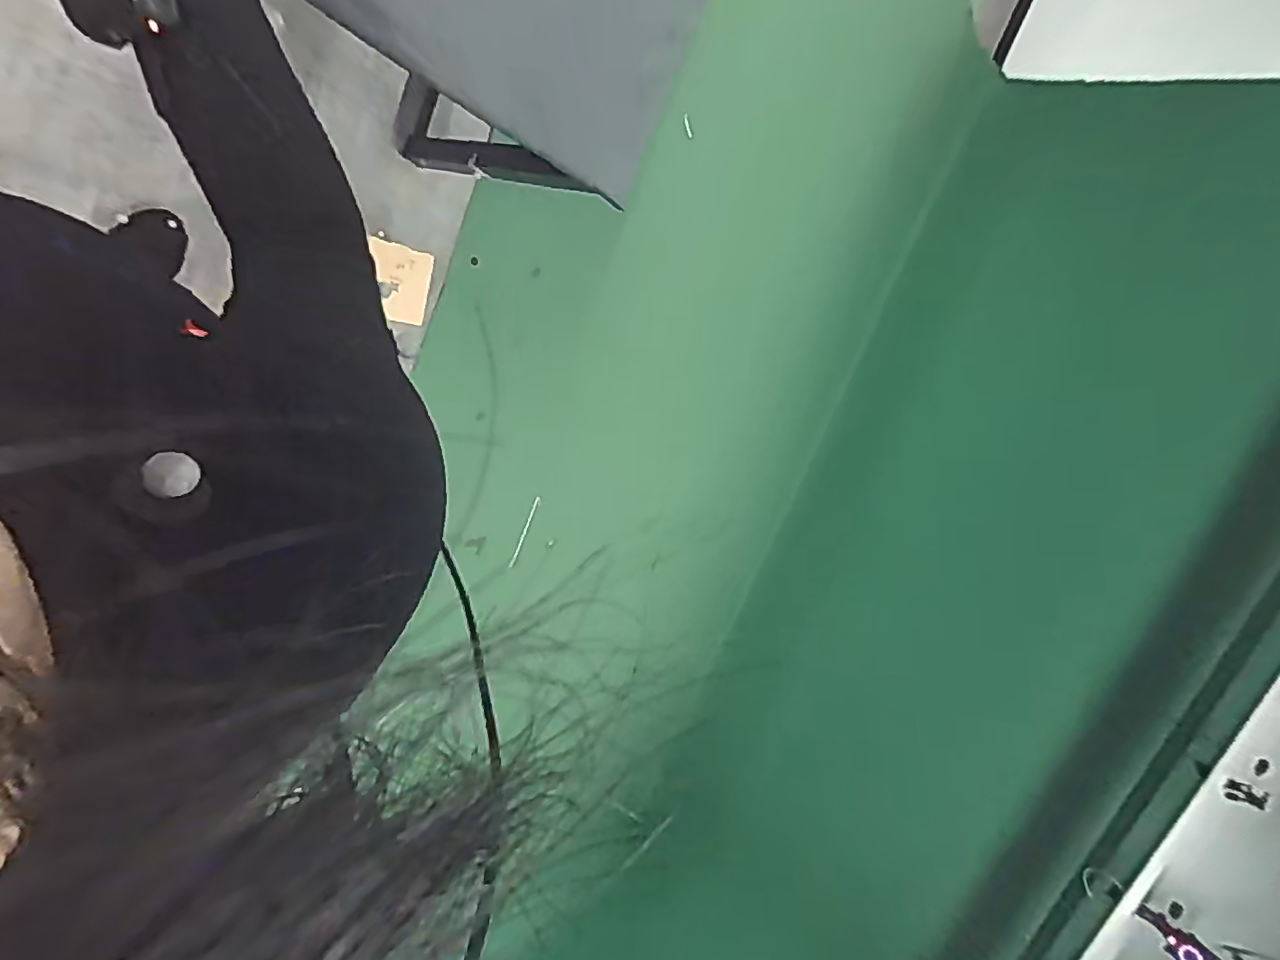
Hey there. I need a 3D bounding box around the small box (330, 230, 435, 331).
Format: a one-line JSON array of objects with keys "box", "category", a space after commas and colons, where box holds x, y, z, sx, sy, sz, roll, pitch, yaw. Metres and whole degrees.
[{"box": [-0.629, -0.484, 1.313, 0.168, 0.176, 0.179, -2, 115, -51], "category": "small box"}]
